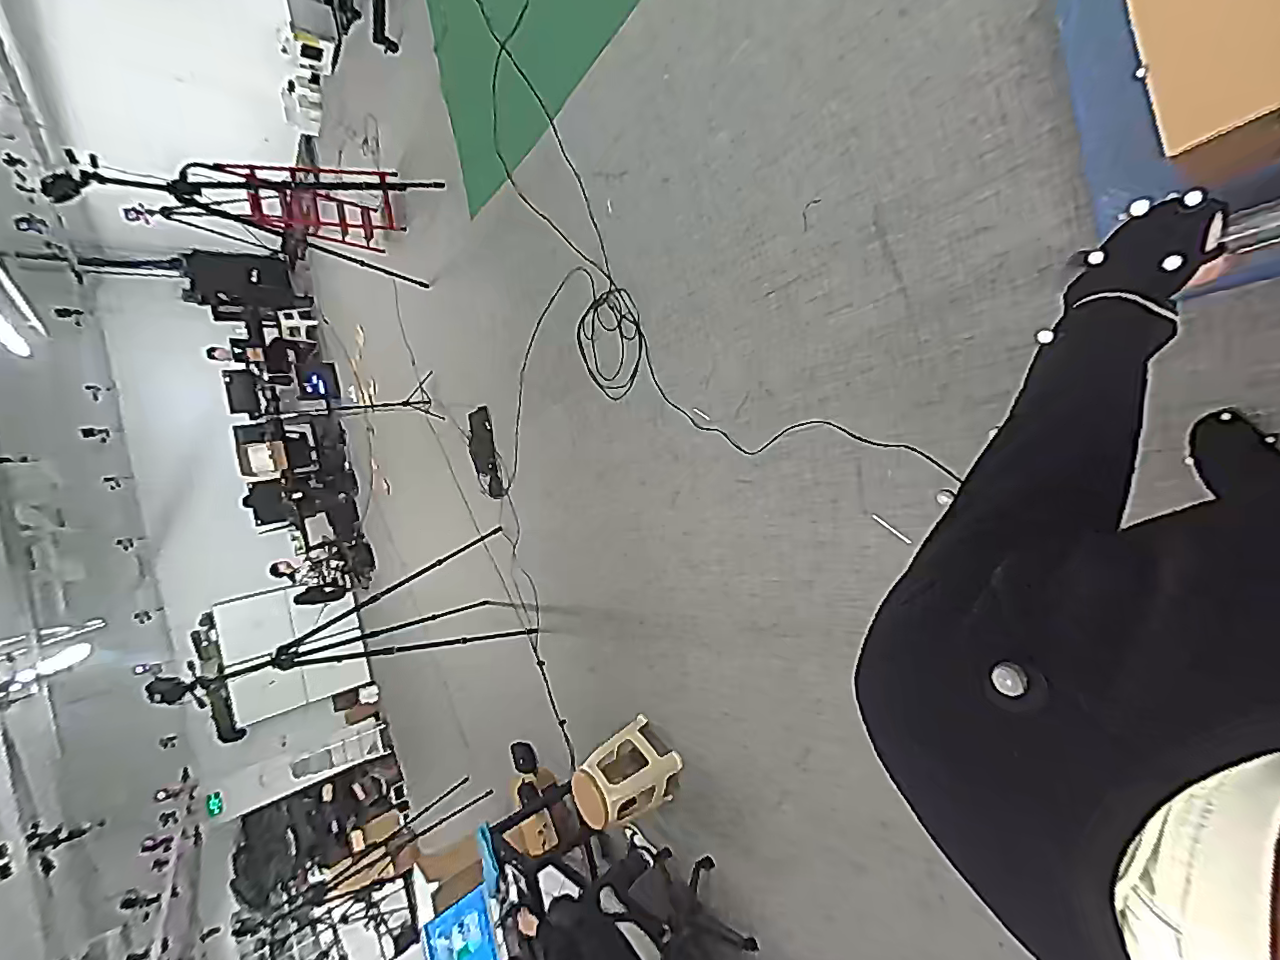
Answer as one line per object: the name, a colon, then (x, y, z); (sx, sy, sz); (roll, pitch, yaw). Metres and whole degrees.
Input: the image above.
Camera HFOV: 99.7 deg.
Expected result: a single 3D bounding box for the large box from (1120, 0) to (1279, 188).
large box: (0.959, -0.727, 0.796); (0.320, 0.320, 0.408); (-15, 87, 51)
